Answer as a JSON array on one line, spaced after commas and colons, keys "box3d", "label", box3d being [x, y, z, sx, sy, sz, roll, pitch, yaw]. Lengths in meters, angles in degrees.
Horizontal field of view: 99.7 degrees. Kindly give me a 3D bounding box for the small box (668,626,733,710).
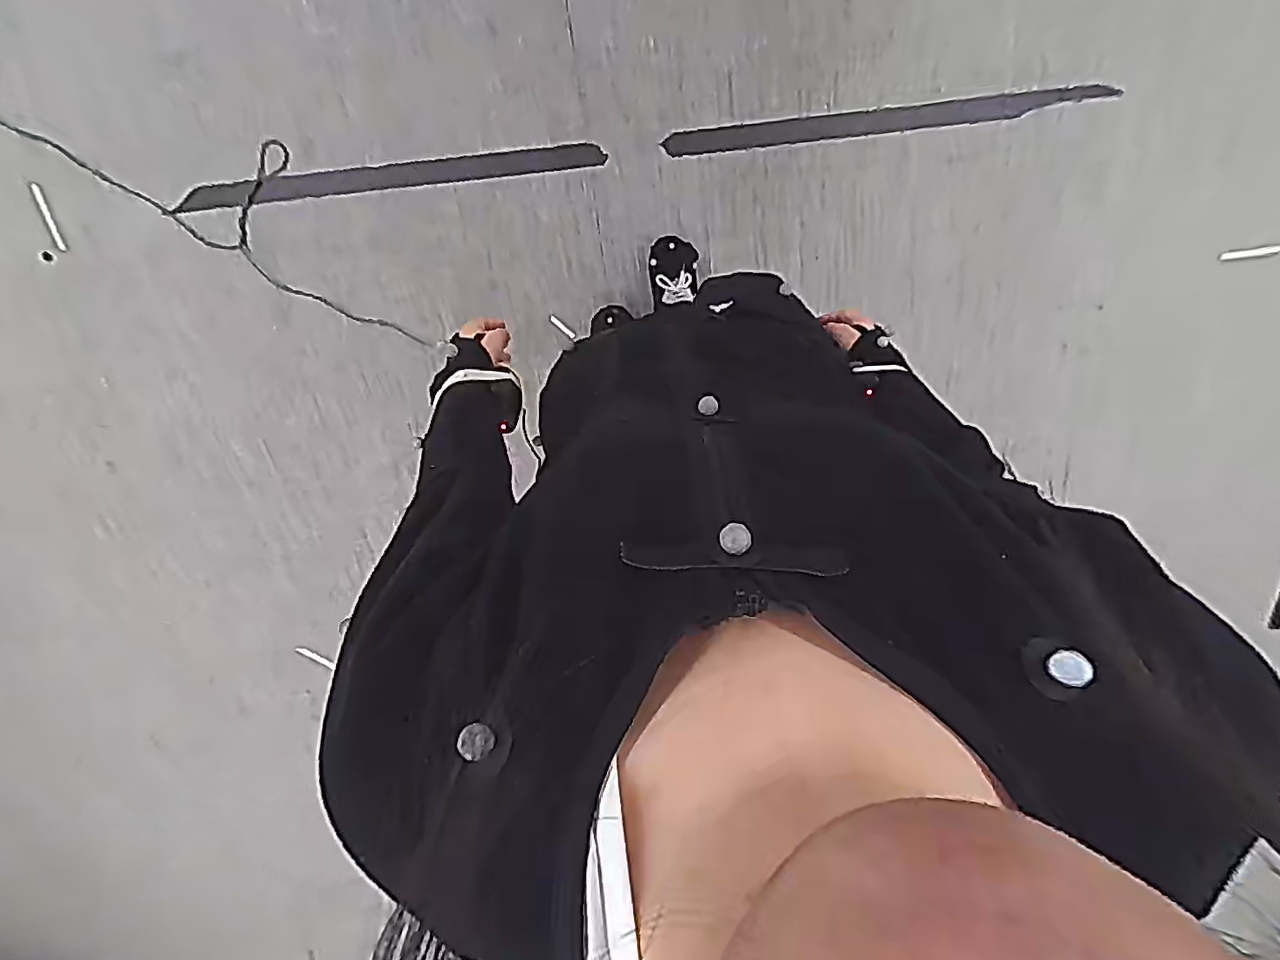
[{"box3d": [0.184, 0.573, 1.675, 0.168, 0.176, 0.179, -10, 111, 2], "label": "small box"}]
